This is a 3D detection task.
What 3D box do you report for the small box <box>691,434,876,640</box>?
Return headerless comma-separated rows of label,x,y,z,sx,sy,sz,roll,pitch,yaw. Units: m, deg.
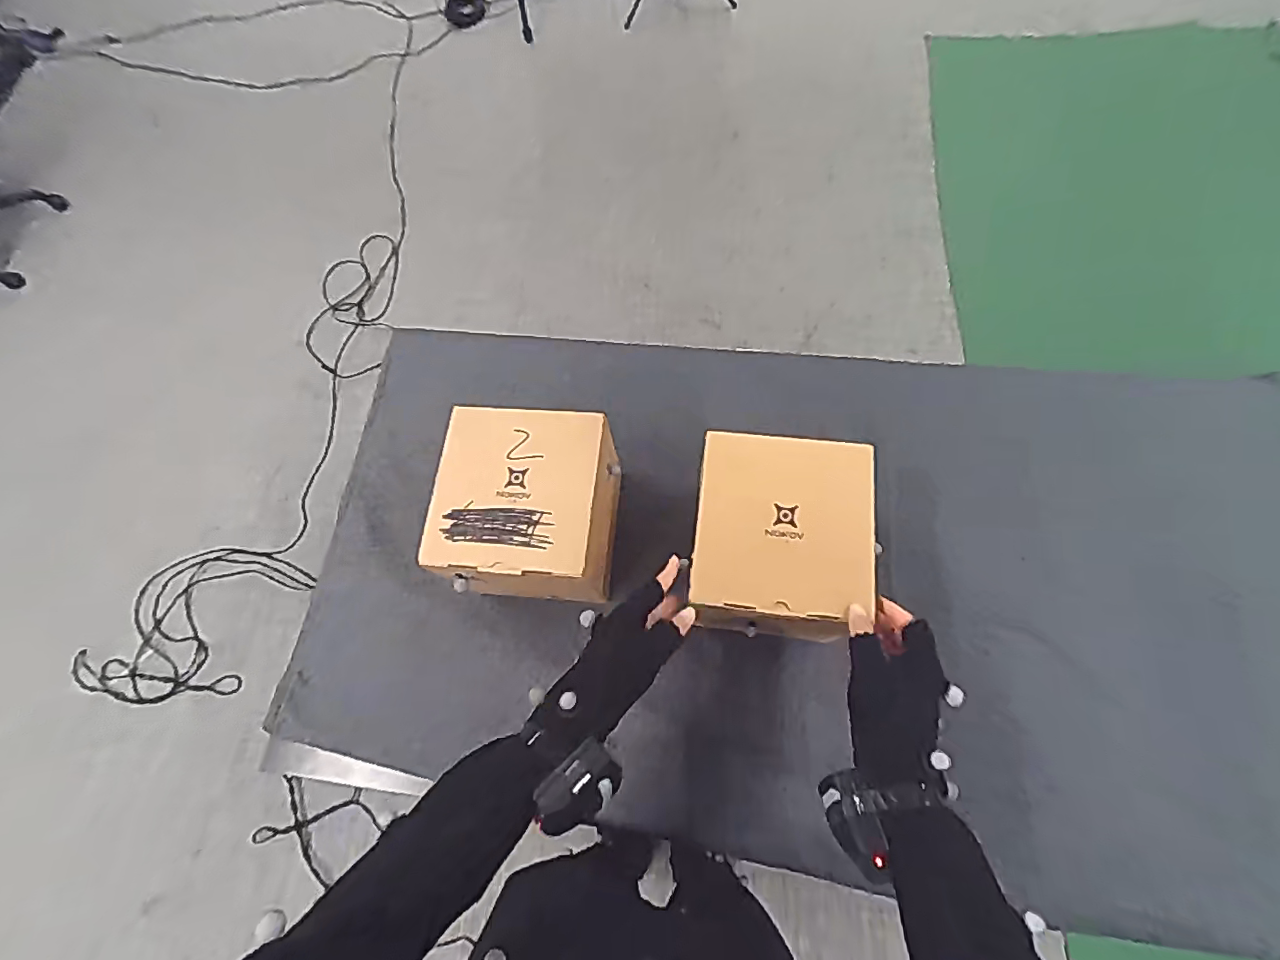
small box,0.145,0.069,0.588,0.168,0.176,0.179,5,70,8
